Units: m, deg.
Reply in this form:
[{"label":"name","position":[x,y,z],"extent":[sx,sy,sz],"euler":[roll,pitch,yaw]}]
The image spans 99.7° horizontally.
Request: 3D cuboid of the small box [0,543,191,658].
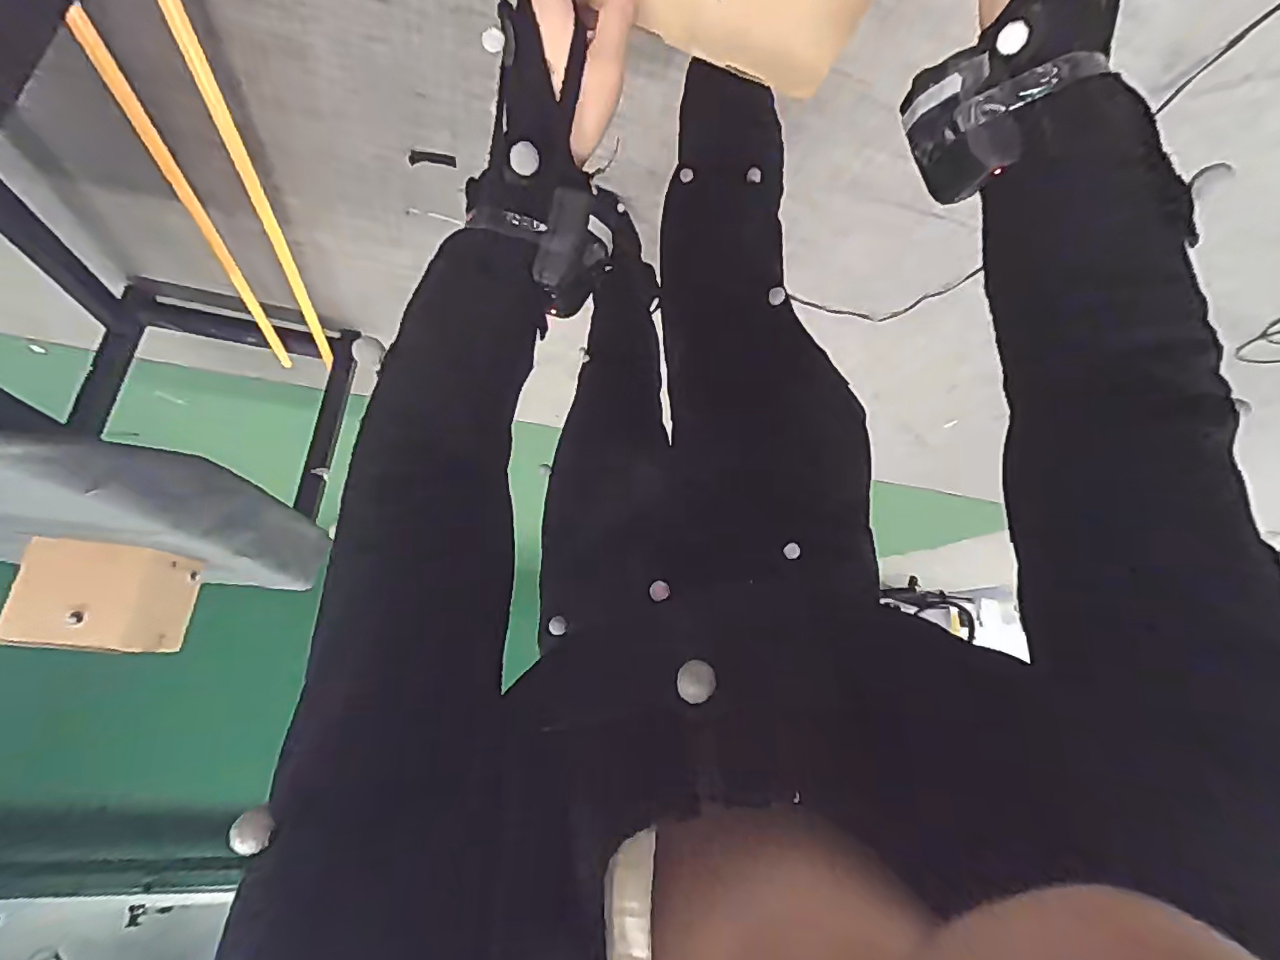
[{"label":"small box","position":[-0.914,0.209,0.921],"extent":[0.179,0.176,0.168],"euler":[9,160,-11]}]
